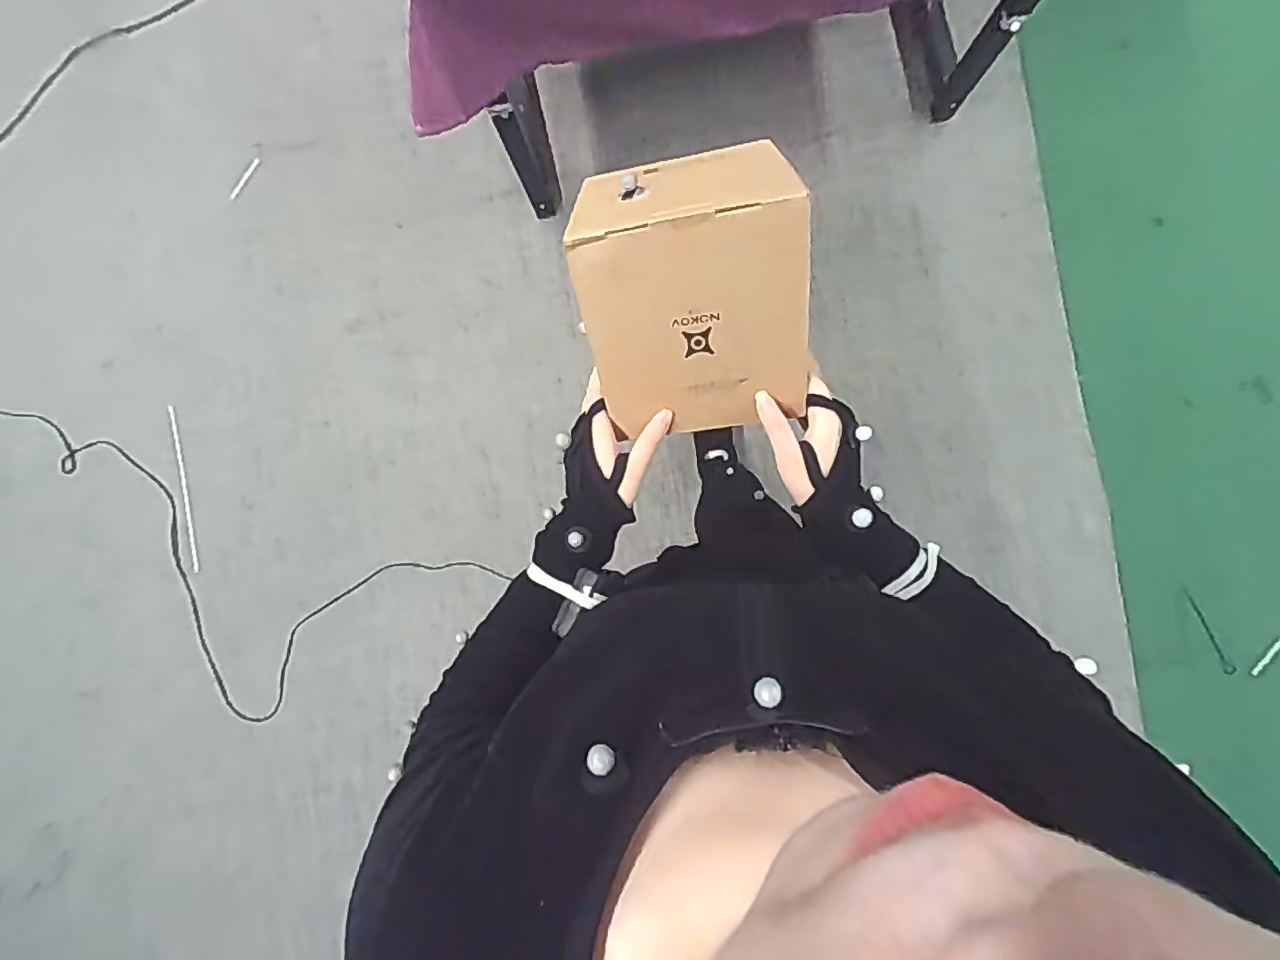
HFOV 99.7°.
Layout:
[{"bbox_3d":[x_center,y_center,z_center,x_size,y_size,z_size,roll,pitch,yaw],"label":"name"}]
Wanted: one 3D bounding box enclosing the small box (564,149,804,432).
[{"bbox_3d":[0.042,-0.168,0.472,0.168,0.176,0.179,-7,132,8],"label":"small box"}]
